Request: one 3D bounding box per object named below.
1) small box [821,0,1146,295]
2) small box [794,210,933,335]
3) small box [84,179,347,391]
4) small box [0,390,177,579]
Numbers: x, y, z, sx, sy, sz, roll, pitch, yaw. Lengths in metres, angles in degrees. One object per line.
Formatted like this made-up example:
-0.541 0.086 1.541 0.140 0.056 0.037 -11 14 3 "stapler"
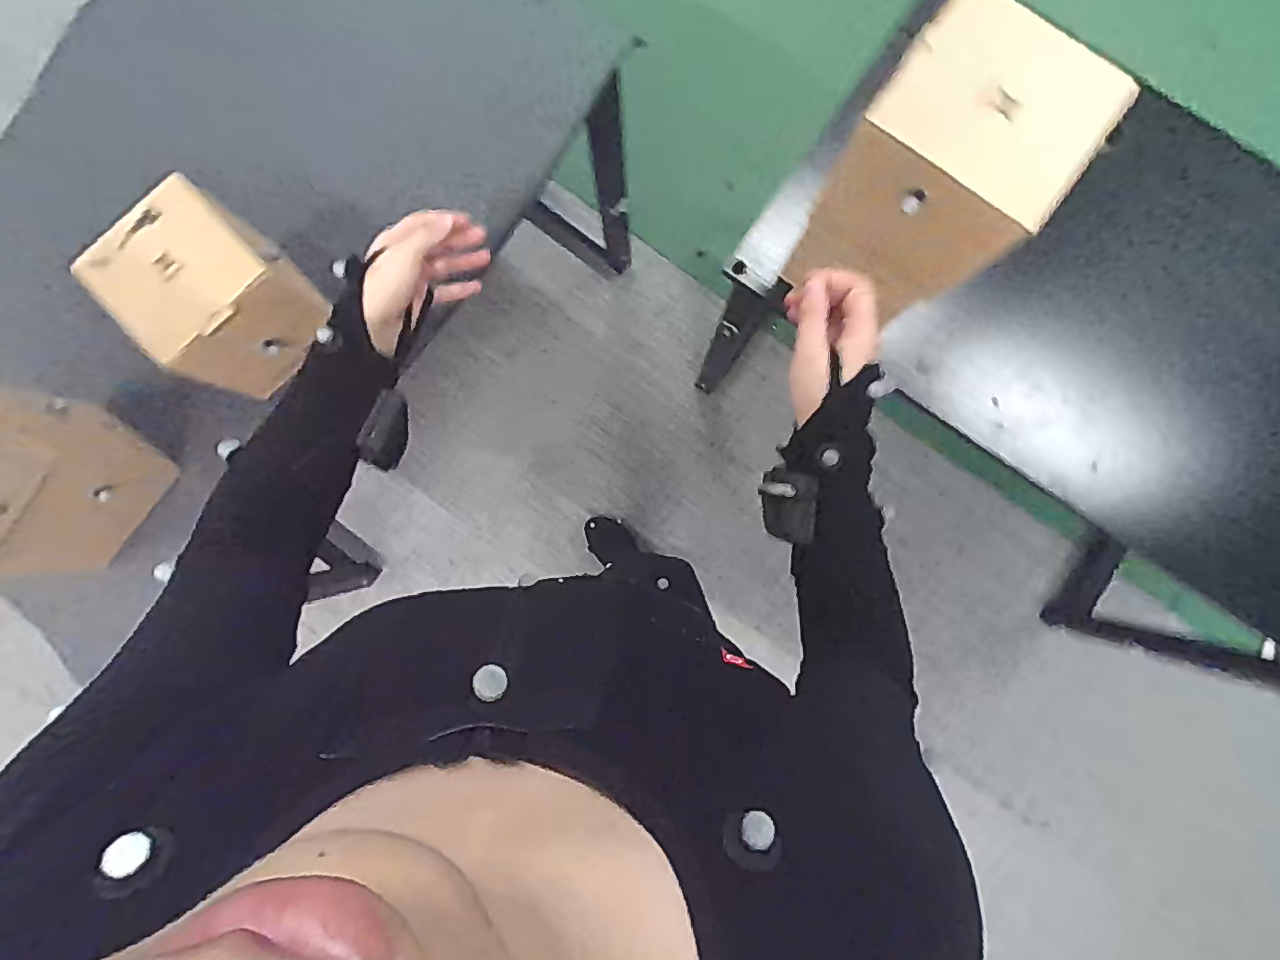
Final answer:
0.317 -0.313 0.541 0.179 0.176 0.168 36 88 3 "small box"
0.323 -0.320 0.704 0.168 0.176 0.179 36 87 2 "small box"
-0.536 -0.236 0.712 0.168 0.176 0.179 -44 86 -1 "small box"
-0.766 0.004 0.701 0.168 0.176 0.179 36 88 5 "small box"
